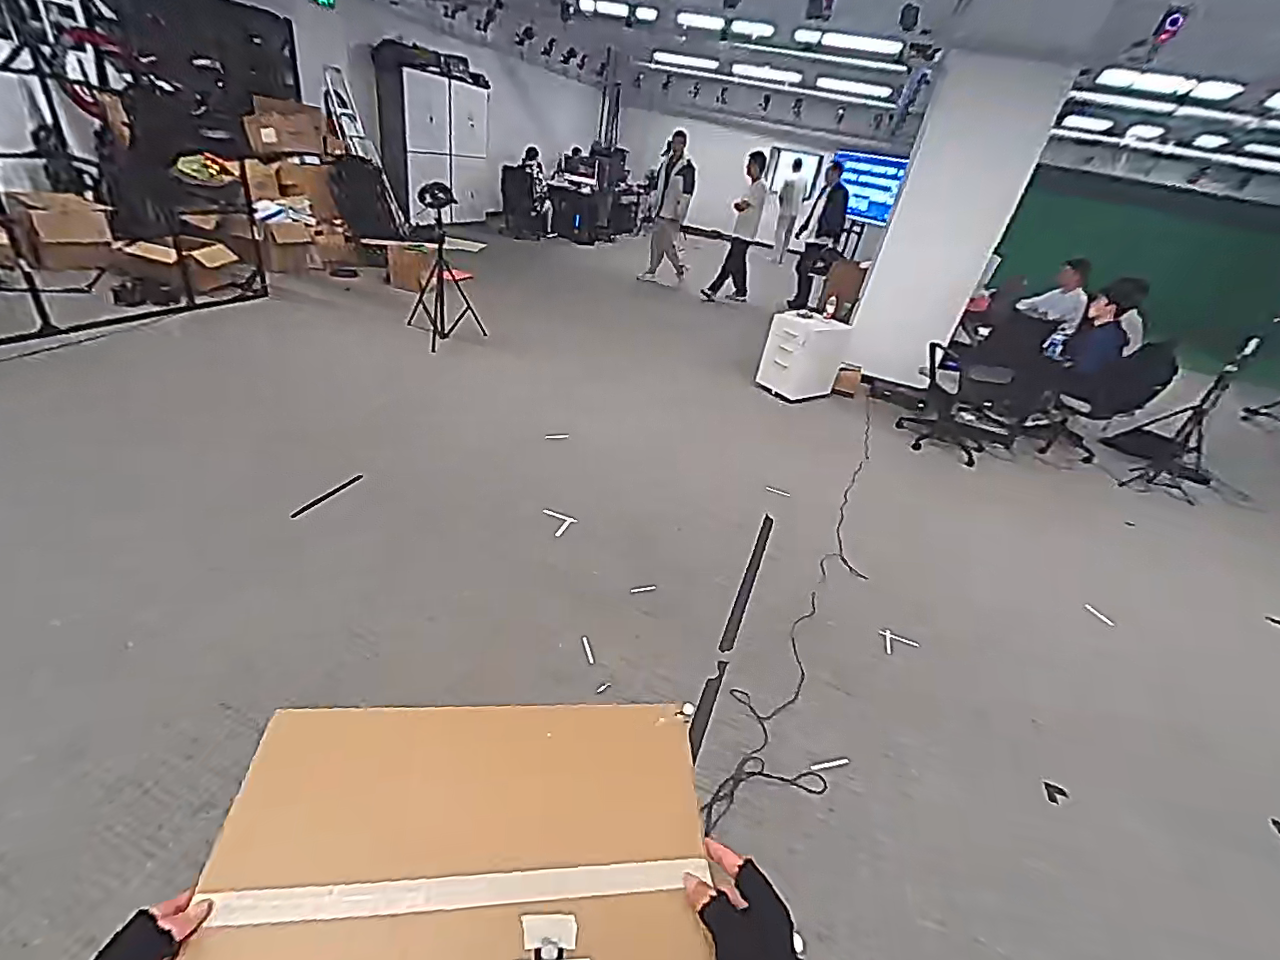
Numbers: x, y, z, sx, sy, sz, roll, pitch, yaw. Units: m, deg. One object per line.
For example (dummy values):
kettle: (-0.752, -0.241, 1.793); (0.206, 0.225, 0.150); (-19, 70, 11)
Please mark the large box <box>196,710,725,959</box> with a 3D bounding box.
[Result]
large box: (-0.156, 0.455, 0.543); (0.408, 0.320, 0.320); (4, 40, -10)
